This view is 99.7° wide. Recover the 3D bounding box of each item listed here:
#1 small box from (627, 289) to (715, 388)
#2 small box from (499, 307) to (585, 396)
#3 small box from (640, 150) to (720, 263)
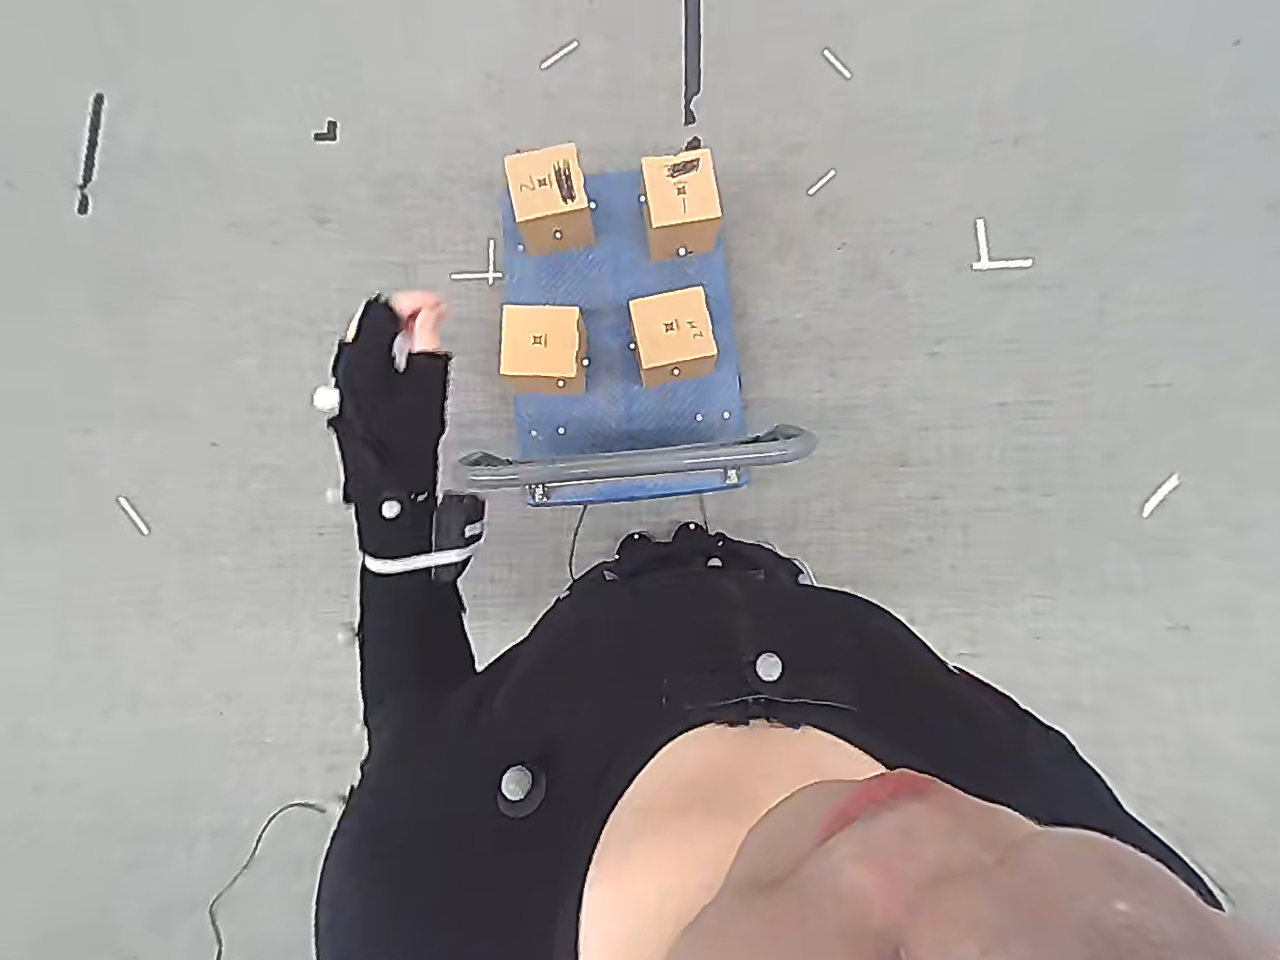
[{"bbox_3d":[0.073,-0.333,1.303,0.179,0.176,0.168,-12,84,0],"label":"small box"},{"bbox_3d":[-0.230,-0.303,1.306,0.179,0.176,0.168,1,84,-1],"label":"small box"},{"bbox_3d":[0.092,-0.669,1.337,0.168,0.176,0.179,-9,85,0],"label":"small box"}]
